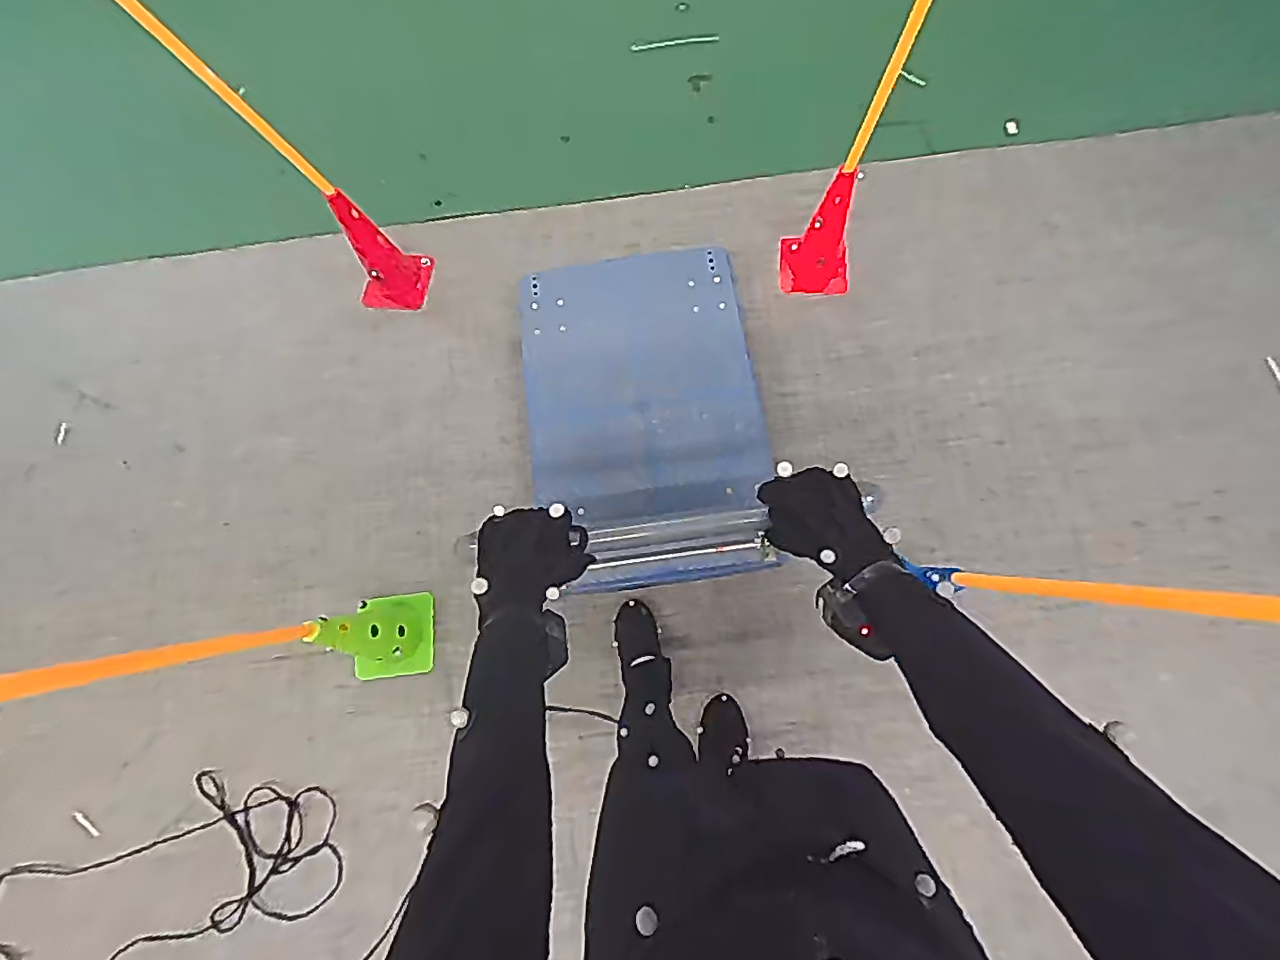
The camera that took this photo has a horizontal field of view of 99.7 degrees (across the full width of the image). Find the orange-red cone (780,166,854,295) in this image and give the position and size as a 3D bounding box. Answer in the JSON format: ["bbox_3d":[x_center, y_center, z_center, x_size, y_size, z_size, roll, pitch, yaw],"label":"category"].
[{"bbox_3d":[0.515,-0.695,1.477,0.198,0.360,0.199,4,74,5],"label":"orange-red cone"}]
